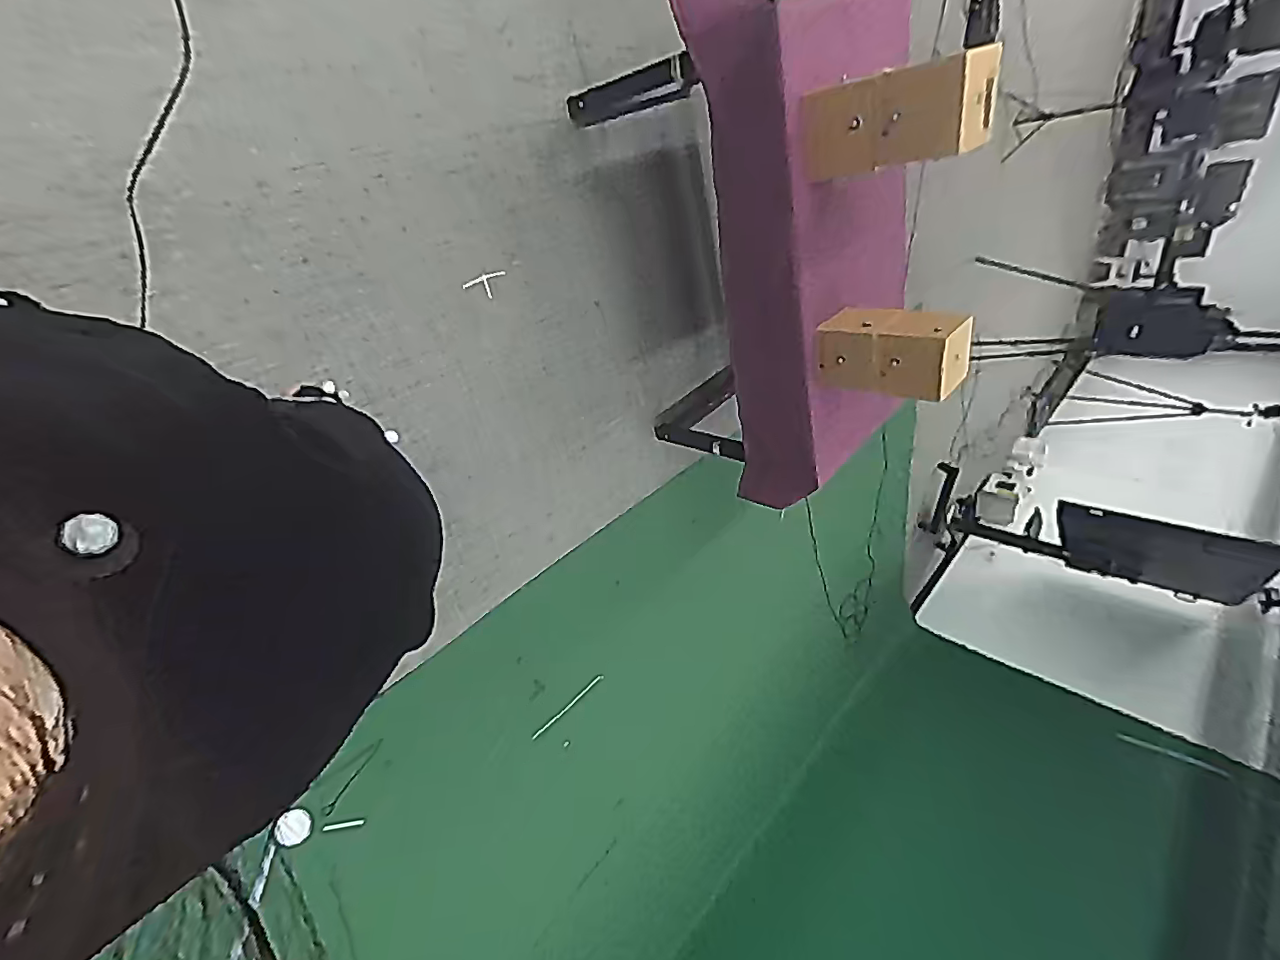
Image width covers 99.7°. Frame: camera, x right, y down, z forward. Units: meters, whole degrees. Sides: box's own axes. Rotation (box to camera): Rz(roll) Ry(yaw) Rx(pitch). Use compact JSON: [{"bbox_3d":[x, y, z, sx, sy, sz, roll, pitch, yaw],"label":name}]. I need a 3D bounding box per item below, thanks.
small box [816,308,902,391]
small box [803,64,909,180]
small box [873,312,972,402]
[{"bbox_3d":[0.596,-0.362,1.482,0.179,0.176,0.168,-36,128,-31],"label":"small box"},{"bbox_3d":[0.479,-0.793,1.208,0.168,0.176,0.179,-37,128,-30],"label":"small box"},{"bbox_3d":[0.714,-0.321,1.377,0.179,0.176,0.168,-35,127,-30],"label":"small box"}]
